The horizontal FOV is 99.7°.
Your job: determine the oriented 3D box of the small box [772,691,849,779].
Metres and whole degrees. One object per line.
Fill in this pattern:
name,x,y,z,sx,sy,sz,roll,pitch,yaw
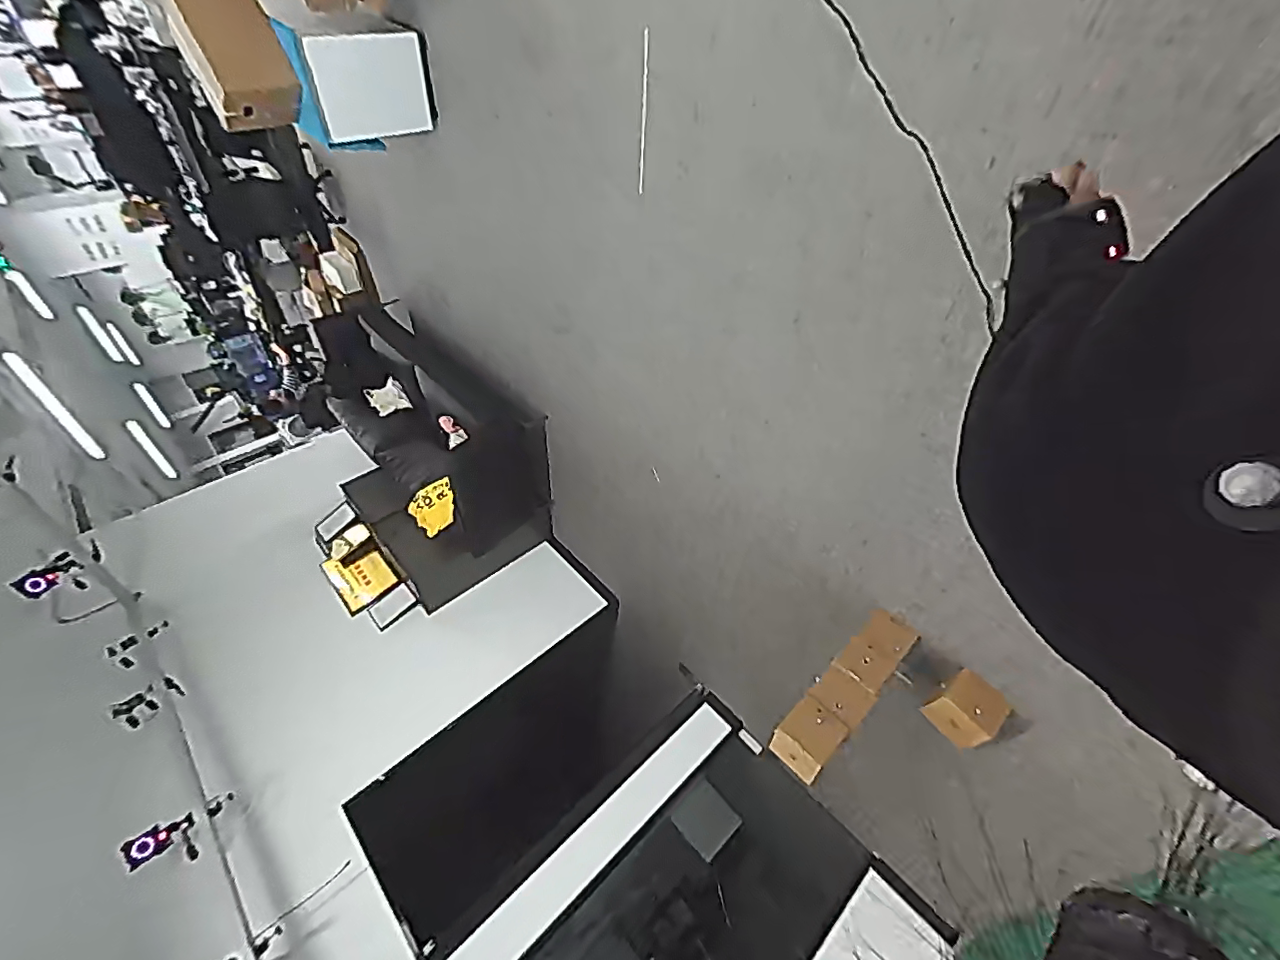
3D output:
small box,0.568,0.844,1.798,0.168,0.176,0.179,36,144,31

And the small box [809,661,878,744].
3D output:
small box,0.690,0.768,1.879,0.179,0.176,0.168,38,145,31

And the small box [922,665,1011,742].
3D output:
small box,1.139,0.773,1.885,0.179,0.176,0.168,45,147,19

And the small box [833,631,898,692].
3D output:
small box,0.805,0.683,1.961,0.168,0.176,0.179,38,144,31
